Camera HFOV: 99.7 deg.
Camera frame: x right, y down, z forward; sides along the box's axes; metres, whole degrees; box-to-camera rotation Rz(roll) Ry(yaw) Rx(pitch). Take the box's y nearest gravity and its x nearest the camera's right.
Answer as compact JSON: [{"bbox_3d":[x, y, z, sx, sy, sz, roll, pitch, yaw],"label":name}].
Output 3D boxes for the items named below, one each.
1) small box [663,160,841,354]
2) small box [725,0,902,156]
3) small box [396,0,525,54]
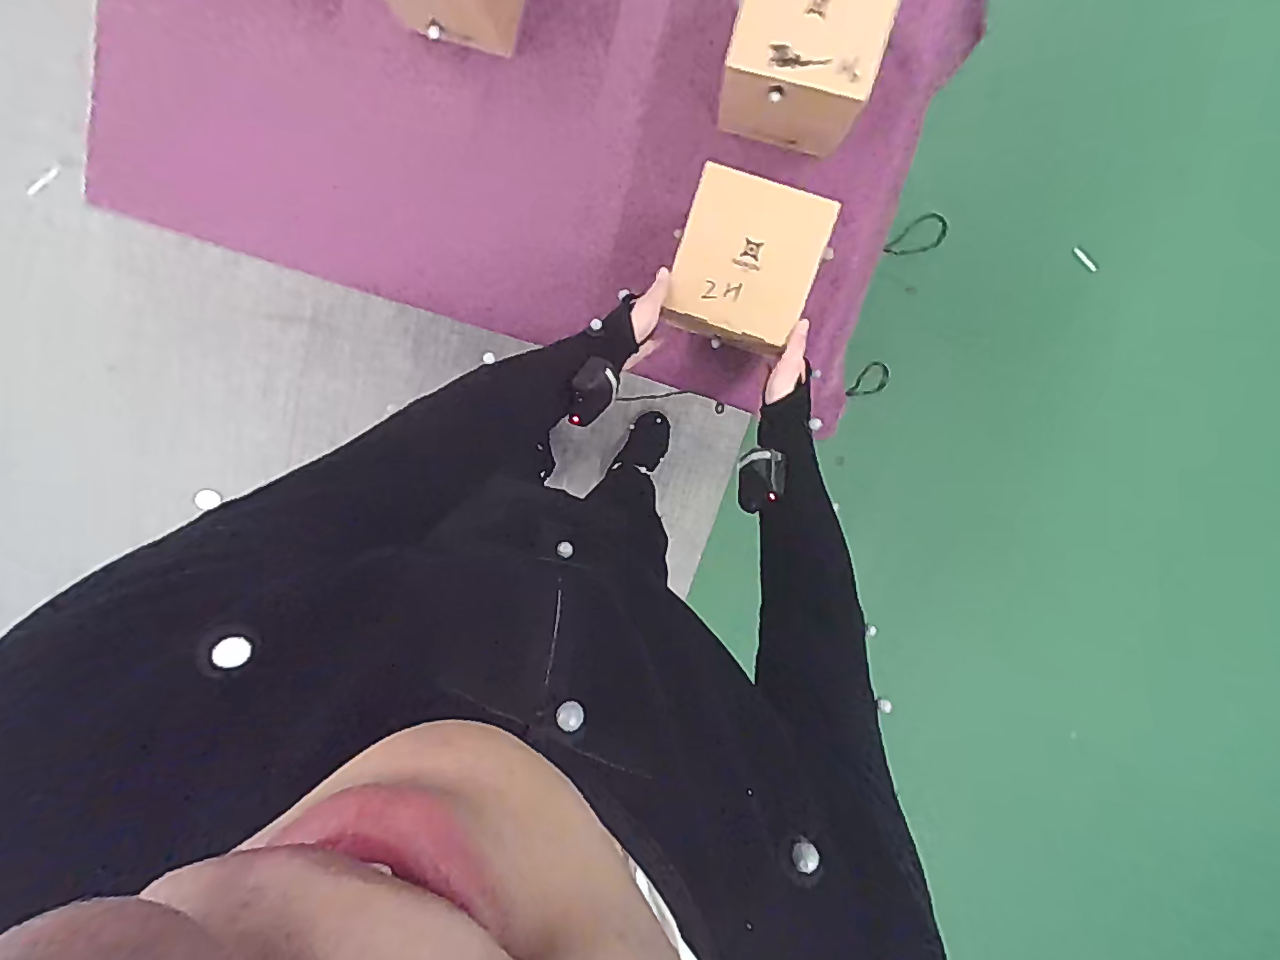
[{"bbox_3d":[0.136,-0.280,0.721,0.168,0.176,0.179,20,101,2],"label":"small box"},{"bbox_3d":[0.208,-0.542,0.668,0.168,0.176,0.179,17,102,2],"label":"small box"},{"bbox_3d":[-0.239,-0.695,0.678,0.168,0.176,0.179,18,103,2],"label":"small box"}]
